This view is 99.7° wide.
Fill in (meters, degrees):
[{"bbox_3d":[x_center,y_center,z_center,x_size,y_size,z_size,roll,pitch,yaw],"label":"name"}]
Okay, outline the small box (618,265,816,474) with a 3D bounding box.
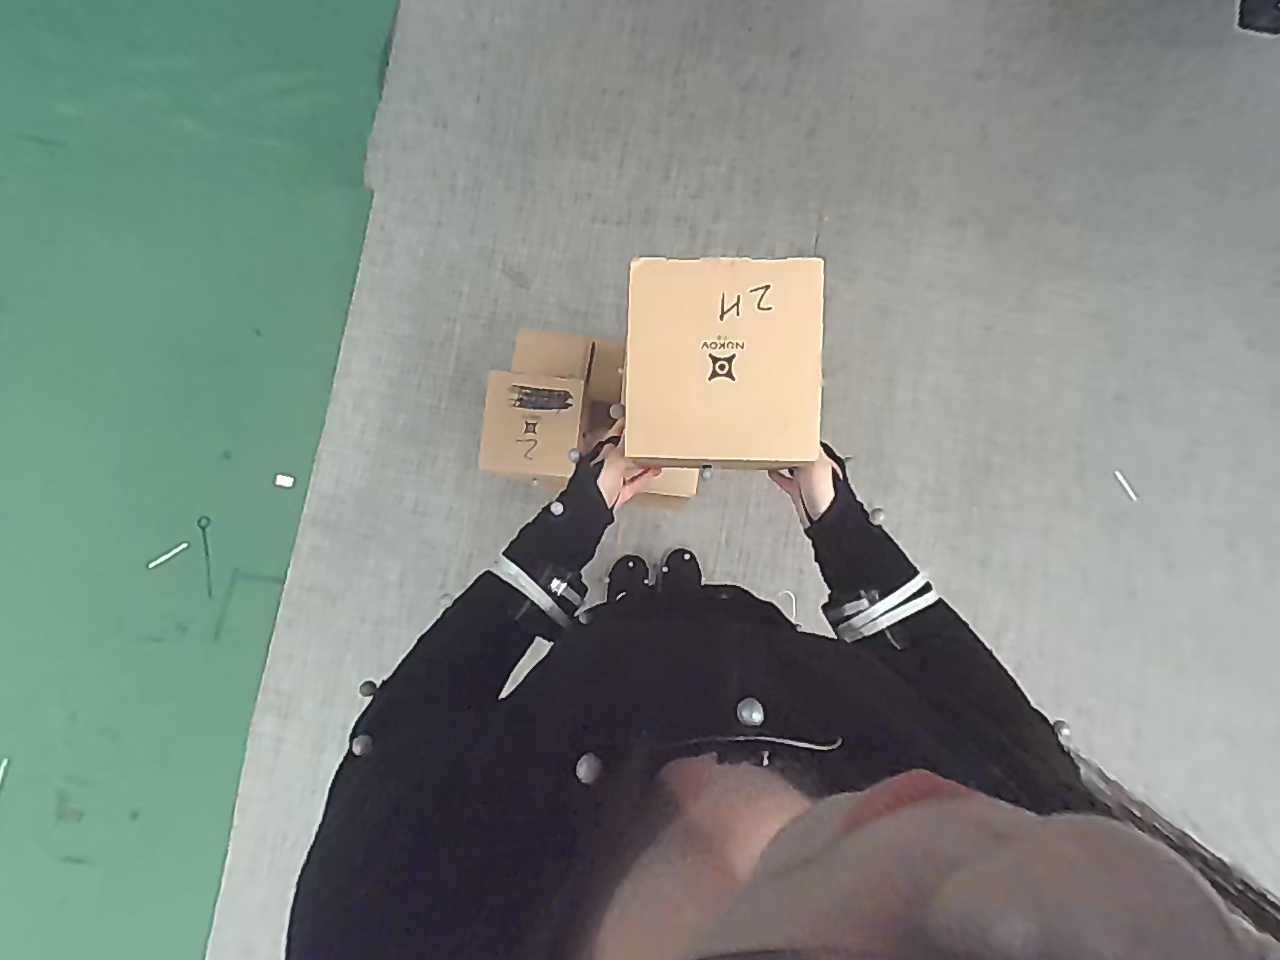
[{"bbox_3d":[0.071,-0.097,0.549,0.168,0.176,0.179,3,89,3],"label":"small box"}]
